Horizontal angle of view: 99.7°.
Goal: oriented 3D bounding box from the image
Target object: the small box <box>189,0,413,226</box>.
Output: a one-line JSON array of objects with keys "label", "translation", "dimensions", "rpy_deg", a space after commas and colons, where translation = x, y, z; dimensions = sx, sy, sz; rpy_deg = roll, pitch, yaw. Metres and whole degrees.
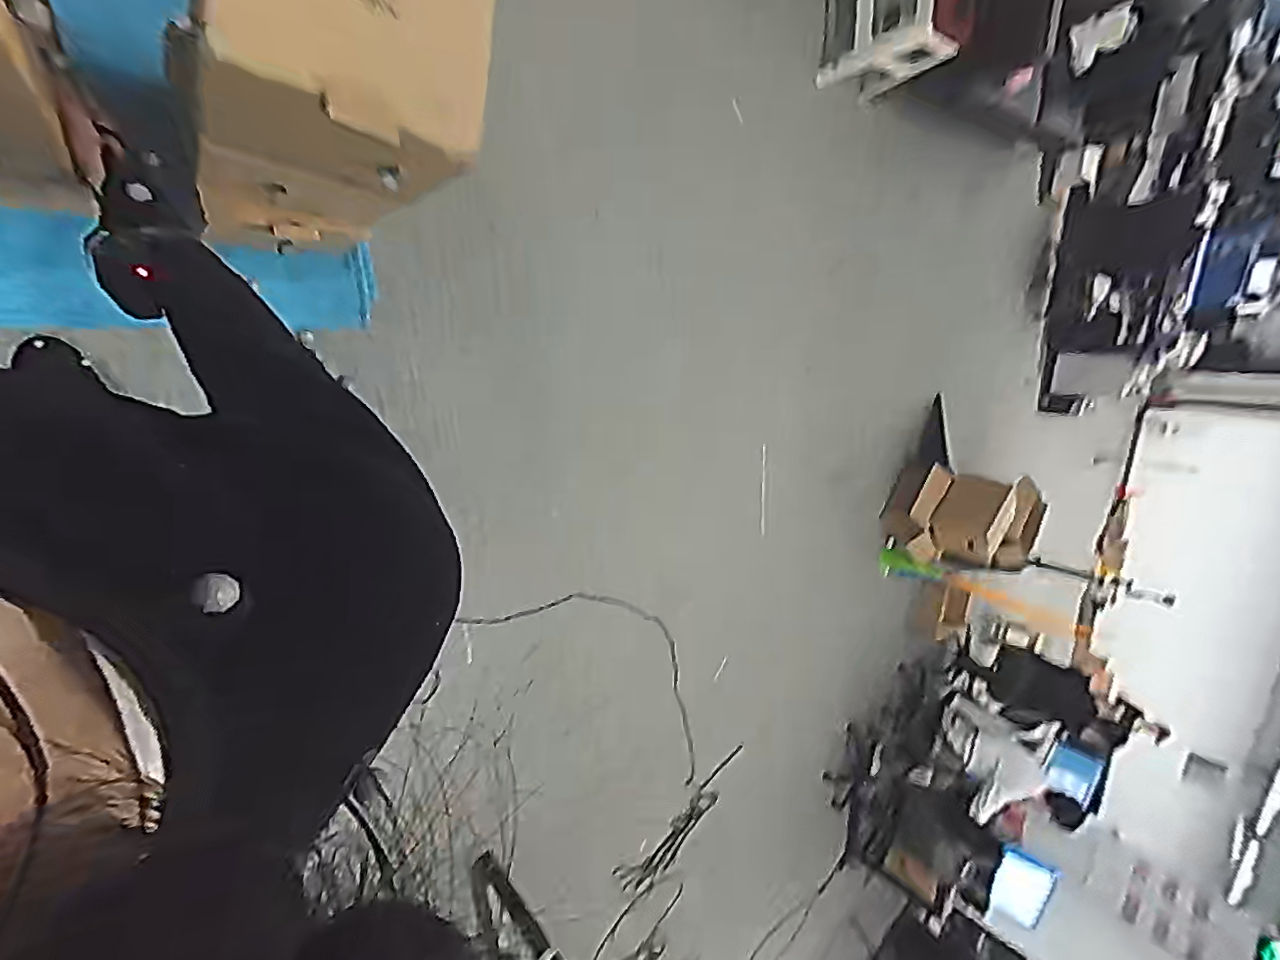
[{"label": "small box", "translation": [-0.325, -0.365, 0.524], "dimensions": [0.168, 0.176, 0.179], "rpy_deg": [-2, 102, -42]}]

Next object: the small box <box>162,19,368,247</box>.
[{"label": "small box", "translation": [-0.440, -0.381, 0.639], "dimensions": [0.168, 0.176, 0.179], "rpy_deg": [-13, 110, -40]}]

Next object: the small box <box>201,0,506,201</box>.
[{"label": "small box", "translation": [-0.217, -0.336, 0.406], "dimensions": [0.168, 0.176, 0.179], "rpy_deg": [1, 99, -42]}]
